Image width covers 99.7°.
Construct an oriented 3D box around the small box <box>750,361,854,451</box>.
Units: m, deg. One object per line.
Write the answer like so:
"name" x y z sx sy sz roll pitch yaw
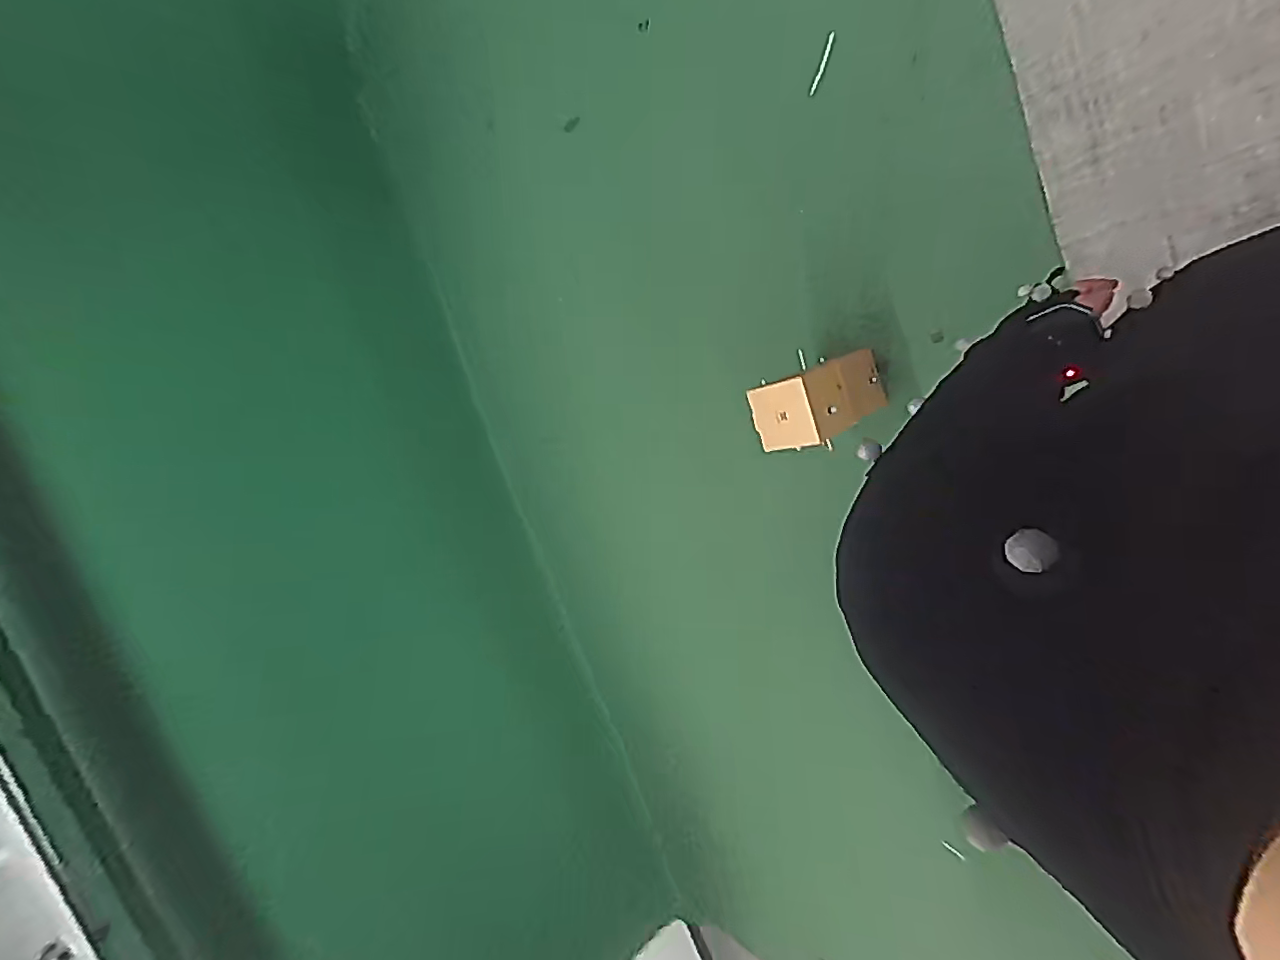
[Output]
"small box" 0.415 -0.187 1.363 0.179 0.176 0.168 -8 105 55
